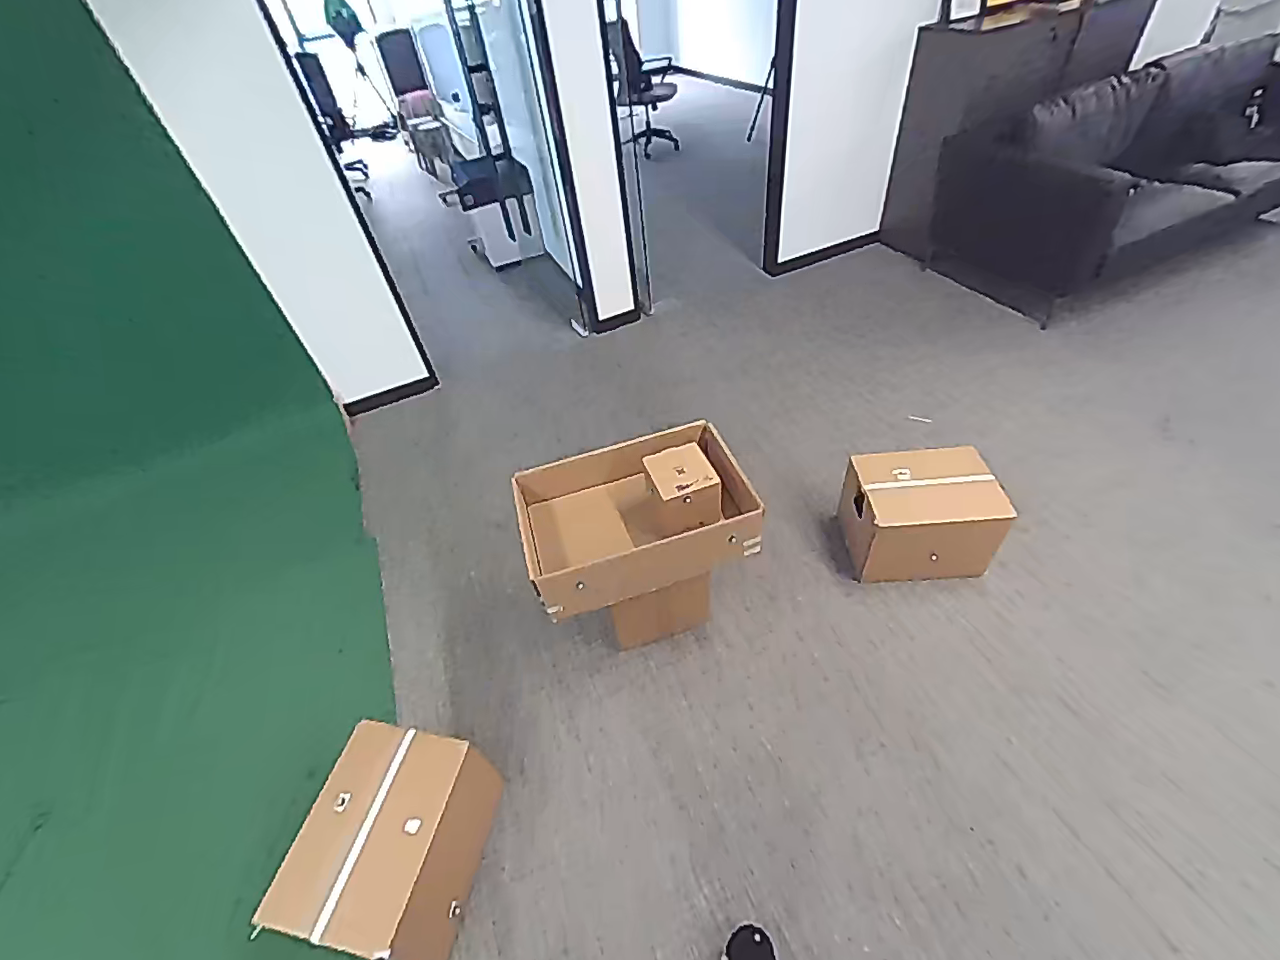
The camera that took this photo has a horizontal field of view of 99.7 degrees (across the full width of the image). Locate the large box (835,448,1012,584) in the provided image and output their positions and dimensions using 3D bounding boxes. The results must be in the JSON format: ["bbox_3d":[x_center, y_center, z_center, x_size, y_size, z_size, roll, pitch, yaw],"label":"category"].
[{"bbox_3d":[0.912,0.124,1.802,0.408,0.320,0.320,-5,45,4],"label":"large box"}]
